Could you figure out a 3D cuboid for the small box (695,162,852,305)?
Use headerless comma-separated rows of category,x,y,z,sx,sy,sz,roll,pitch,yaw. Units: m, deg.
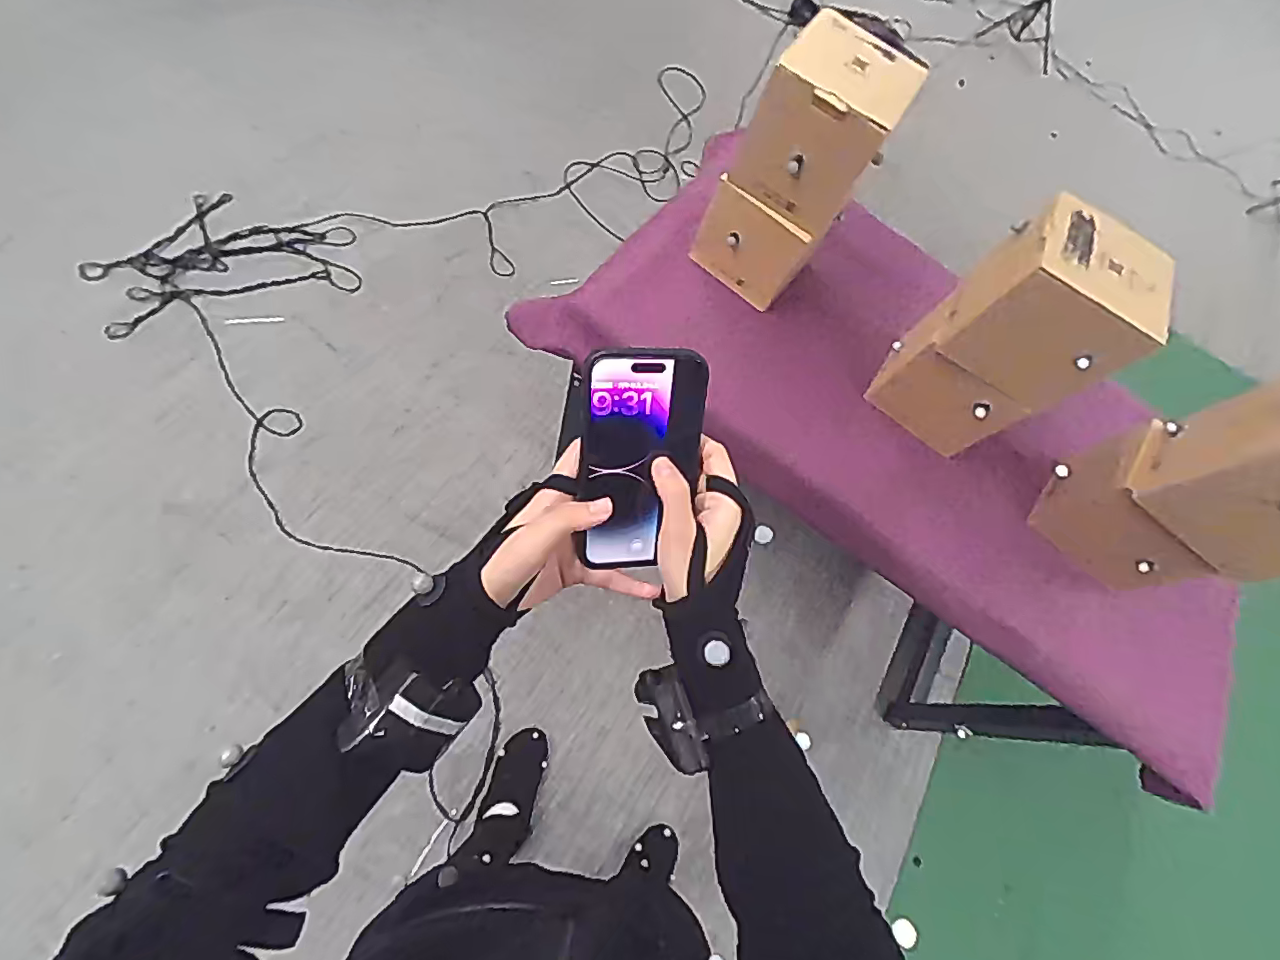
small box,0.210,-0.430,0.902,0.168,0.176,0.179,38,65,4

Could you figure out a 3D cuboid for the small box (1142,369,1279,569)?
small box,0.804,-0.011,0.685,0.179,0.176,0.168,43,65,6

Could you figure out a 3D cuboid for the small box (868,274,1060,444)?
small box,0.509,-0.181,0.867,0.179,0.176,0.168,37,65,4

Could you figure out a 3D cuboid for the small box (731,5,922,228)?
small box,0.248,-0.497,0.756,0.168,0.176,0.179,33,66,1

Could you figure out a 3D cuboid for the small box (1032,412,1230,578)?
small box,0.772,0.034,0.840,0.179,0.176,0.168,43,65,7
